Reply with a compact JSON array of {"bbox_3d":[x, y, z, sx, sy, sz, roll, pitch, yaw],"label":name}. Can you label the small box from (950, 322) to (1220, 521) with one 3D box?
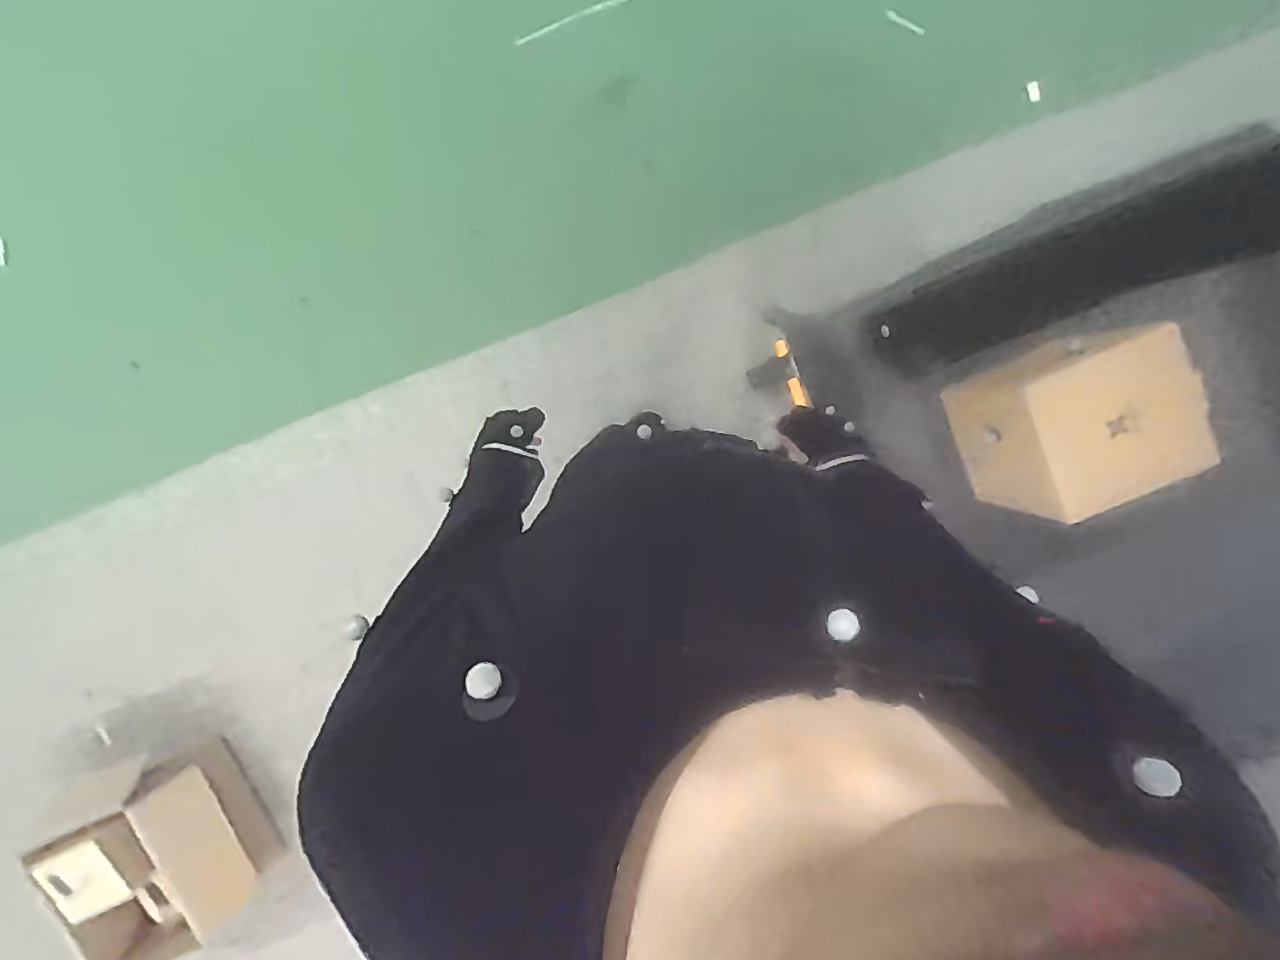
[{"bbox_3d":[0.512,-0.068,0.654,0.179,0.176,0.168,-23,96,2],"label":"small box"}]
